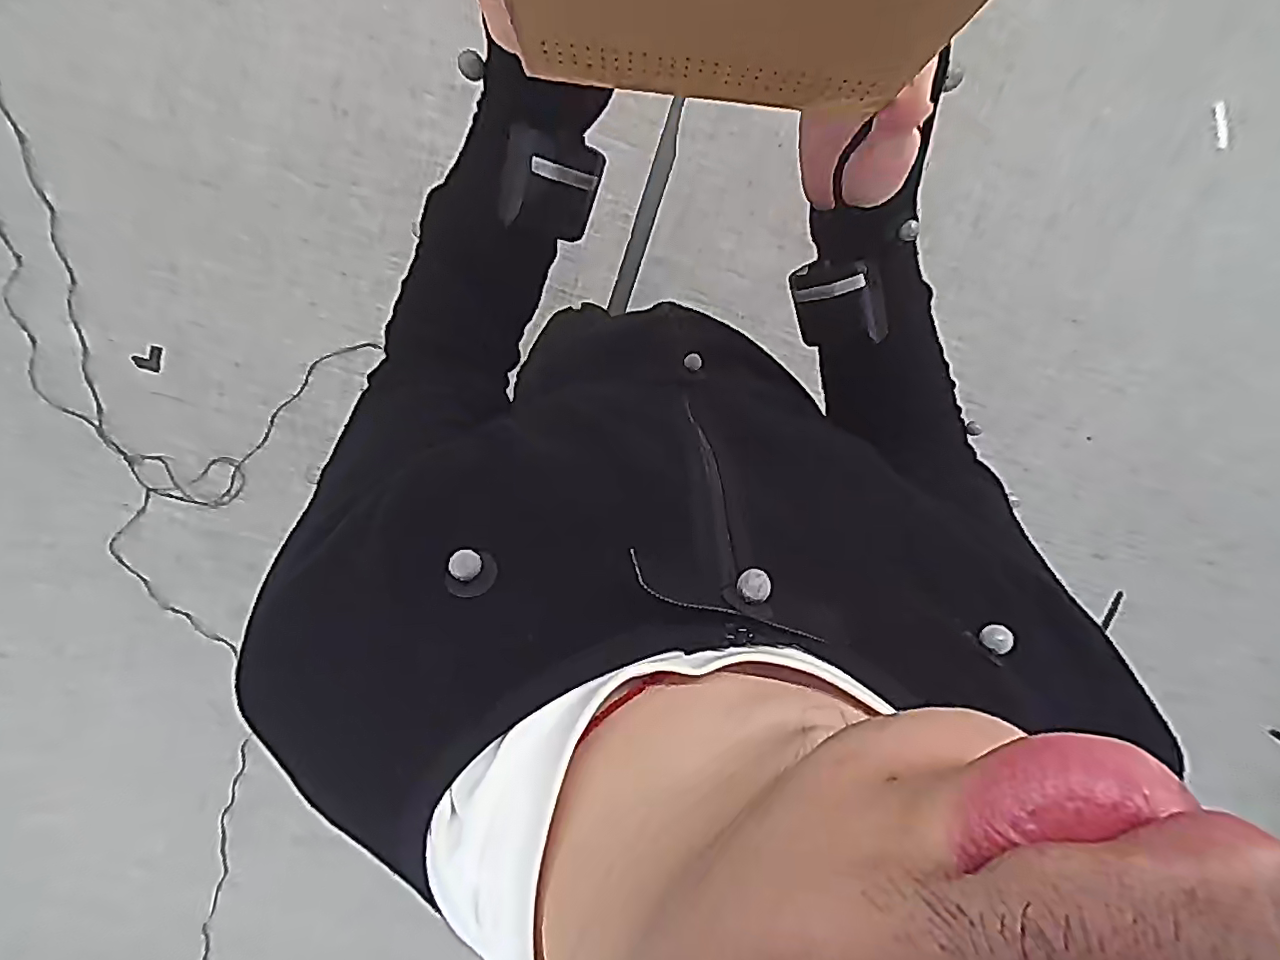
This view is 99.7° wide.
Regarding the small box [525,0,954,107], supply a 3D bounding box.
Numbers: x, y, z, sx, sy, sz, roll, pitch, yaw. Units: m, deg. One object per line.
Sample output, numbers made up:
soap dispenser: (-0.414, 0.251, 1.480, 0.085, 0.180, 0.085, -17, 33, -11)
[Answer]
small box: (0.044, -0.257, 0.181, 0.179, 0.176, 0.168, 5, 103, -3)
